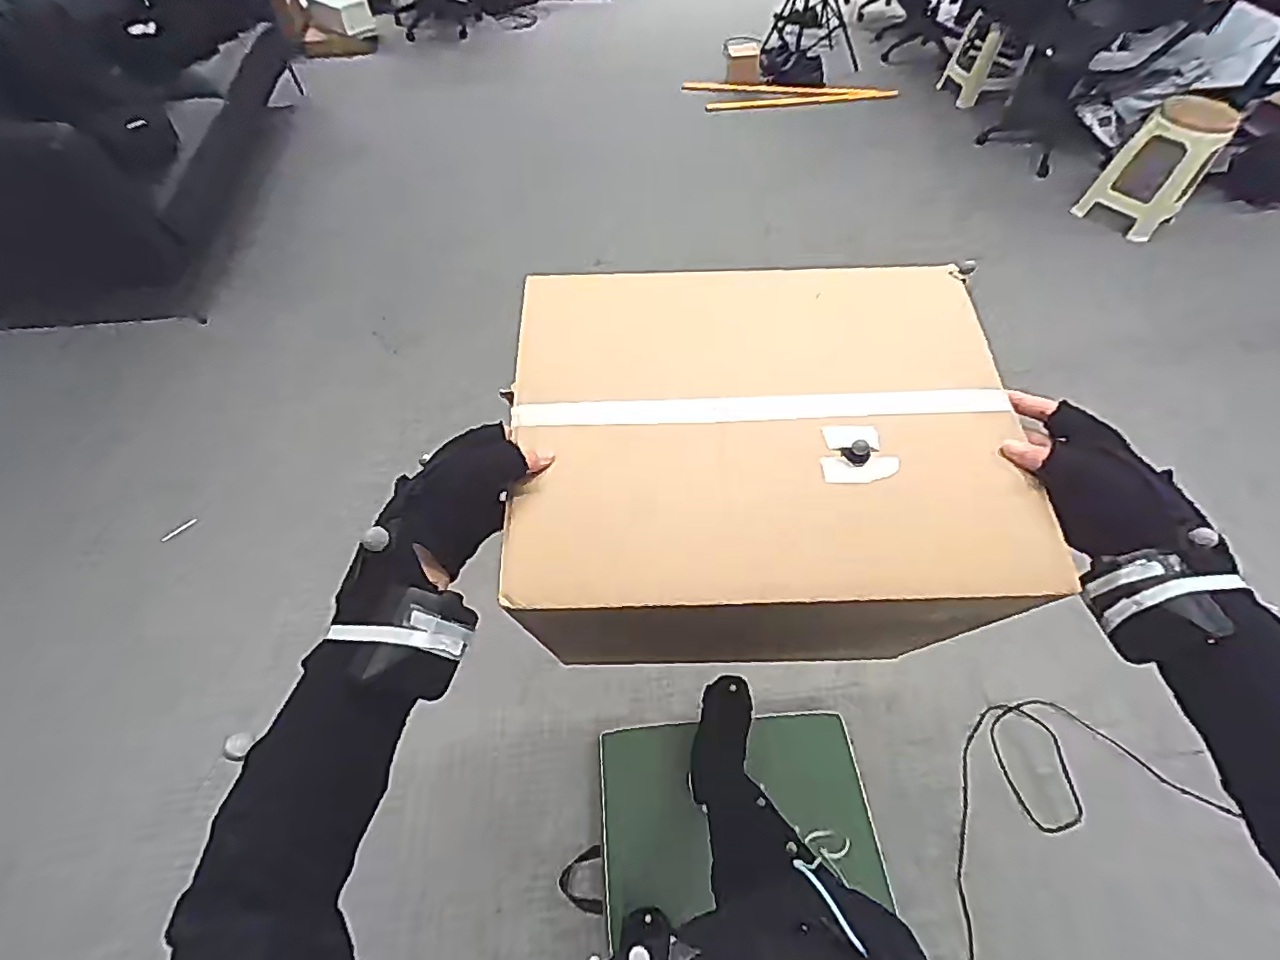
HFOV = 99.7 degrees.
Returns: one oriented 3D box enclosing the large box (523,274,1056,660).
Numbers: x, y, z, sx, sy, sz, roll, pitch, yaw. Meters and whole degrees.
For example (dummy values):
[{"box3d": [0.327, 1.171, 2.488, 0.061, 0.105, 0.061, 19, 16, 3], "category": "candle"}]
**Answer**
[{"box3d": [0.103, 0.008, 0.592, 0.408, 0.320, 0.320, -2, 64, -1], "category": "large box"}]
